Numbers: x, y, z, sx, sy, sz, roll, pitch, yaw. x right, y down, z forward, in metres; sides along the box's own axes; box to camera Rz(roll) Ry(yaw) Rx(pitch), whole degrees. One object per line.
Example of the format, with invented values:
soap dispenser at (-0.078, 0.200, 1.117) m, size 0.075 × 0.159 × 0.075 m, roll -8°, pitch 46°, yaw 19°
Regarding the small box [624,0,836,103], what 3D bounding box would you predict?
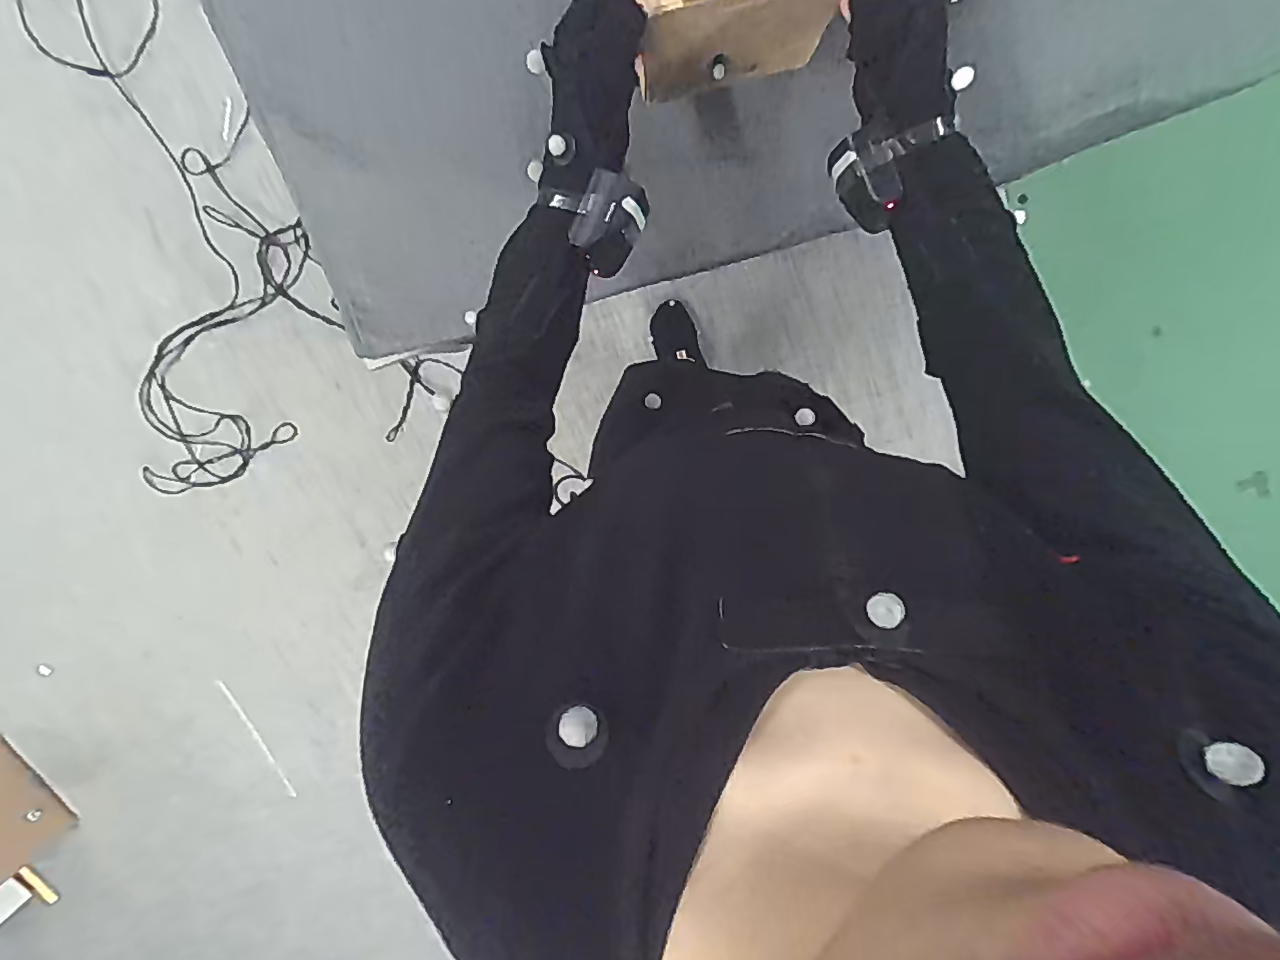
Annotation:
small box at (0.064, -0.462, 0.452) m, size 0.168 × 0.176 × 0.179 m, roll -12°, pitch 105°, yaw 5°
